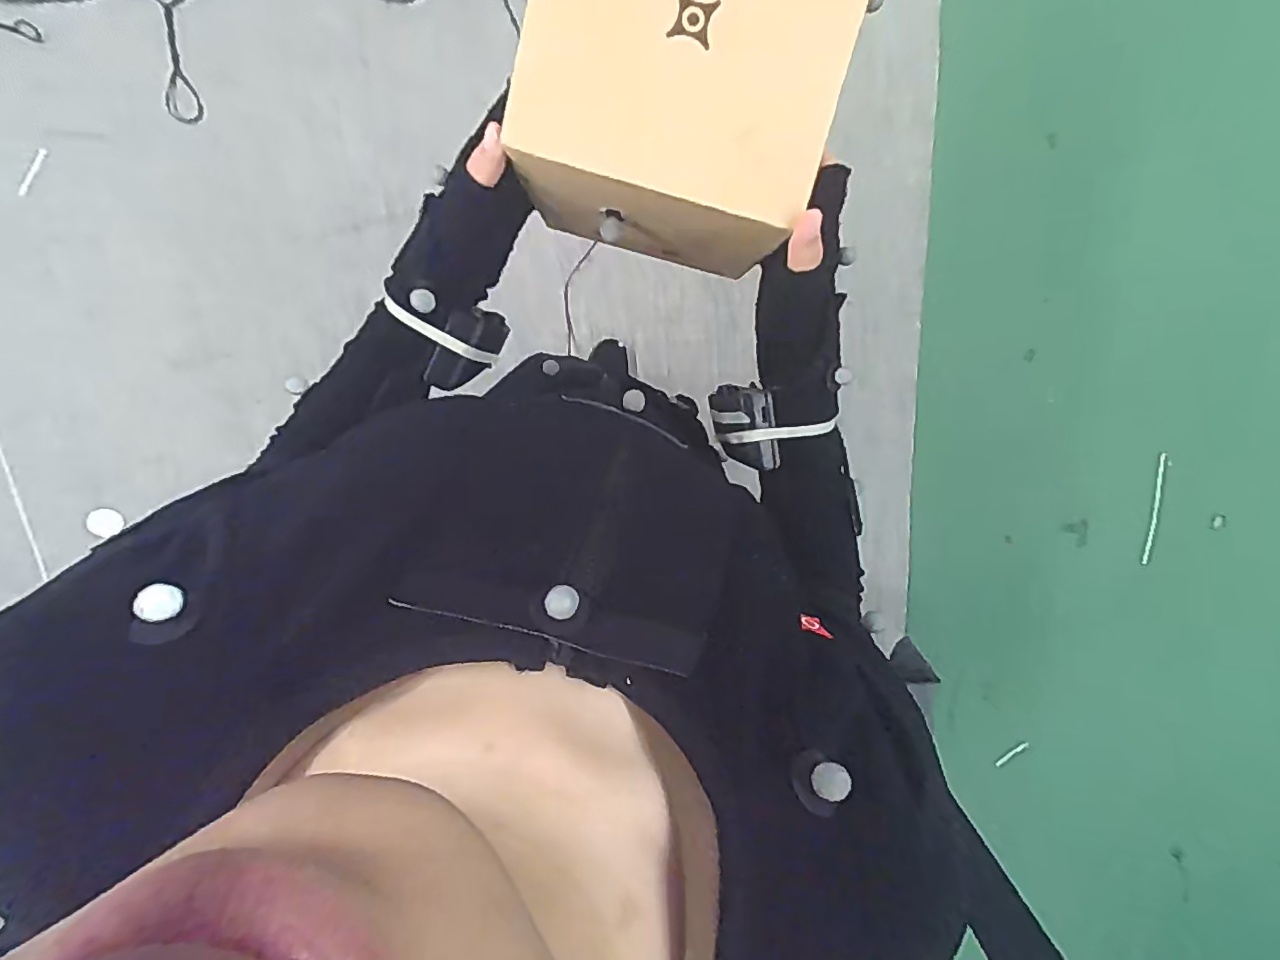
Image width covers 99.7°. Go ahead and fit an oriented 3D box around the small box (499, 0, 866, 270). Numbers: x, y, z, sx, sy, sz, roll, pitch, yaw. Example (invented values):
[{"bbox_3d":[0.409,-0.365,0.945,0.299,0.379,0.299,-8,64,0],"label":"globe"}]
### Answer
[{"bbox_3d":[0.026,-0.251,0.343,0.168,0.176,0.179,14,100,-4],"label":"small box"}]
